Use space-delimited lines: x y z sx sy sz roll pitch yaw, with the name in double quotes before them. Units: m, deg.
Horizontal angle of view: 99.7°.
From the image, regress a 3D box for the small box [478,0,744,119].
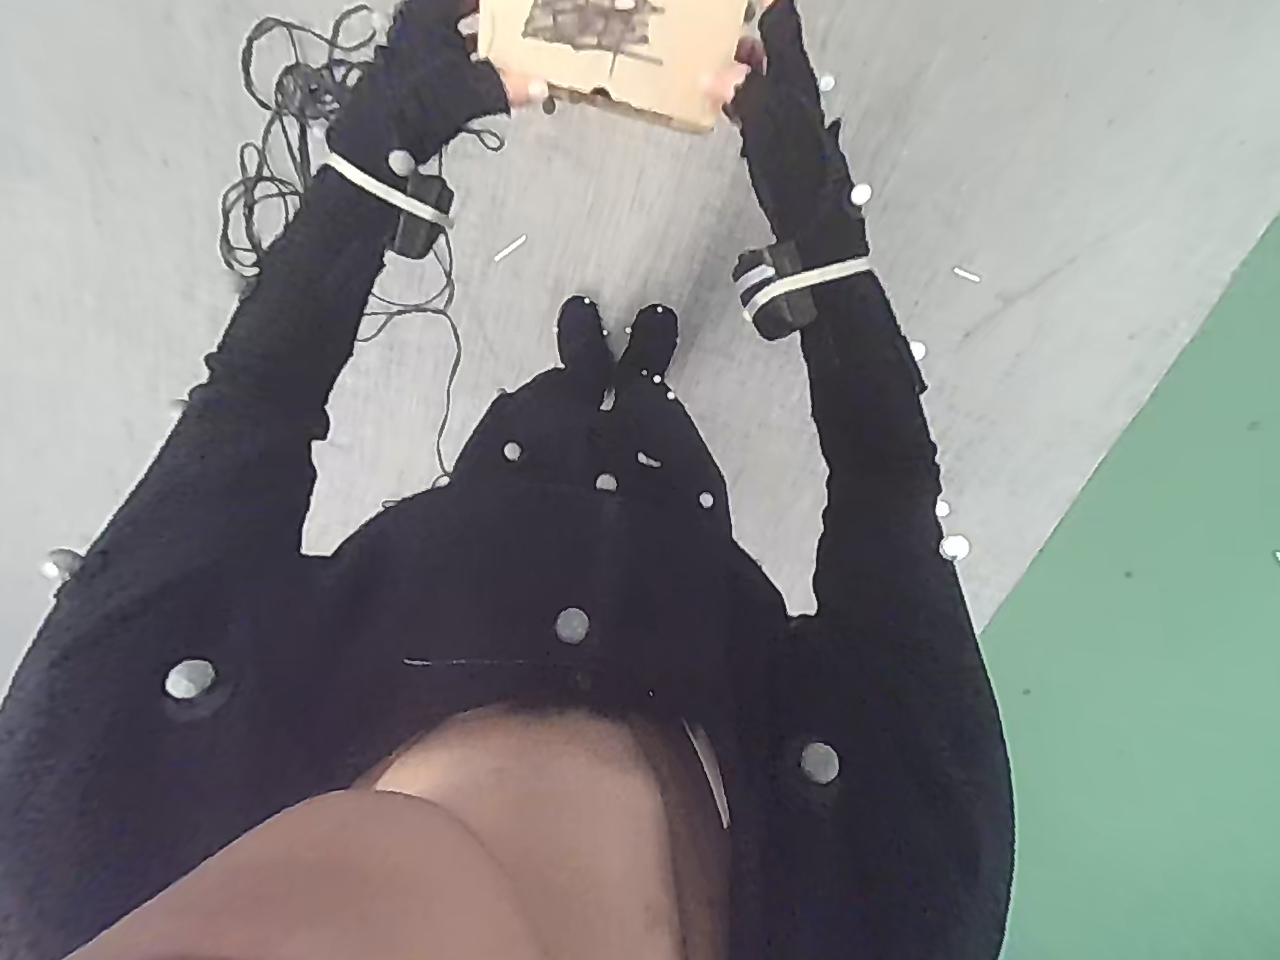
"small box" -0.009 -0.377 0.385 0.168 0.176 0.179 10 121 -8
